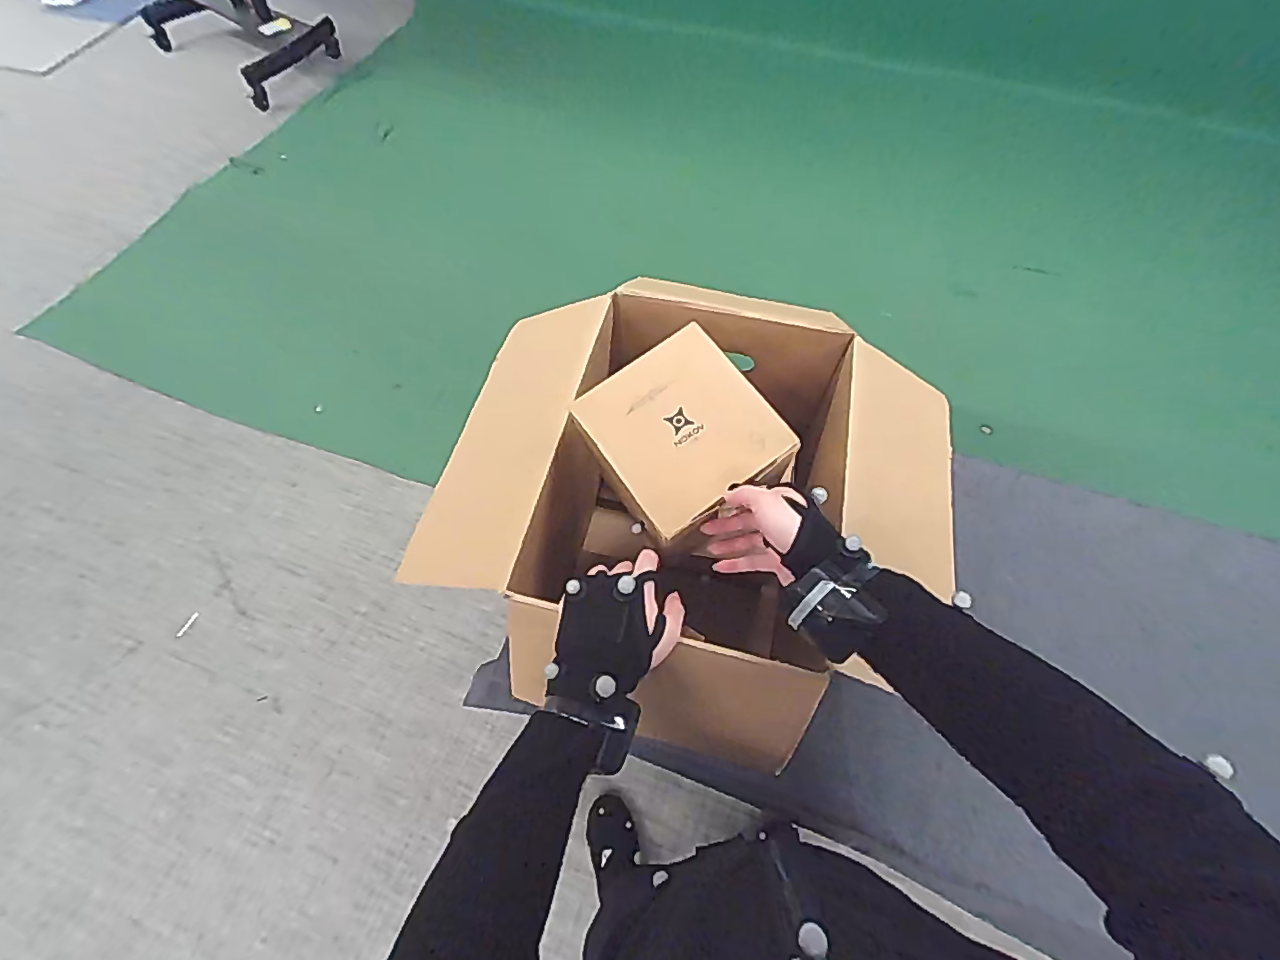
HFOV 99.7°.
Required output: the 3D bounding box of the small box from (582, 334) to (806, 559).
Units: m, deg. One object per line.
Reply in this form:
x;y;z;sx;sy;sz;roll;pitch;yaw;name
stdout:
0.059;-0.024;0.624;0.168;0.176;0.179;-33;71;-7;small box
